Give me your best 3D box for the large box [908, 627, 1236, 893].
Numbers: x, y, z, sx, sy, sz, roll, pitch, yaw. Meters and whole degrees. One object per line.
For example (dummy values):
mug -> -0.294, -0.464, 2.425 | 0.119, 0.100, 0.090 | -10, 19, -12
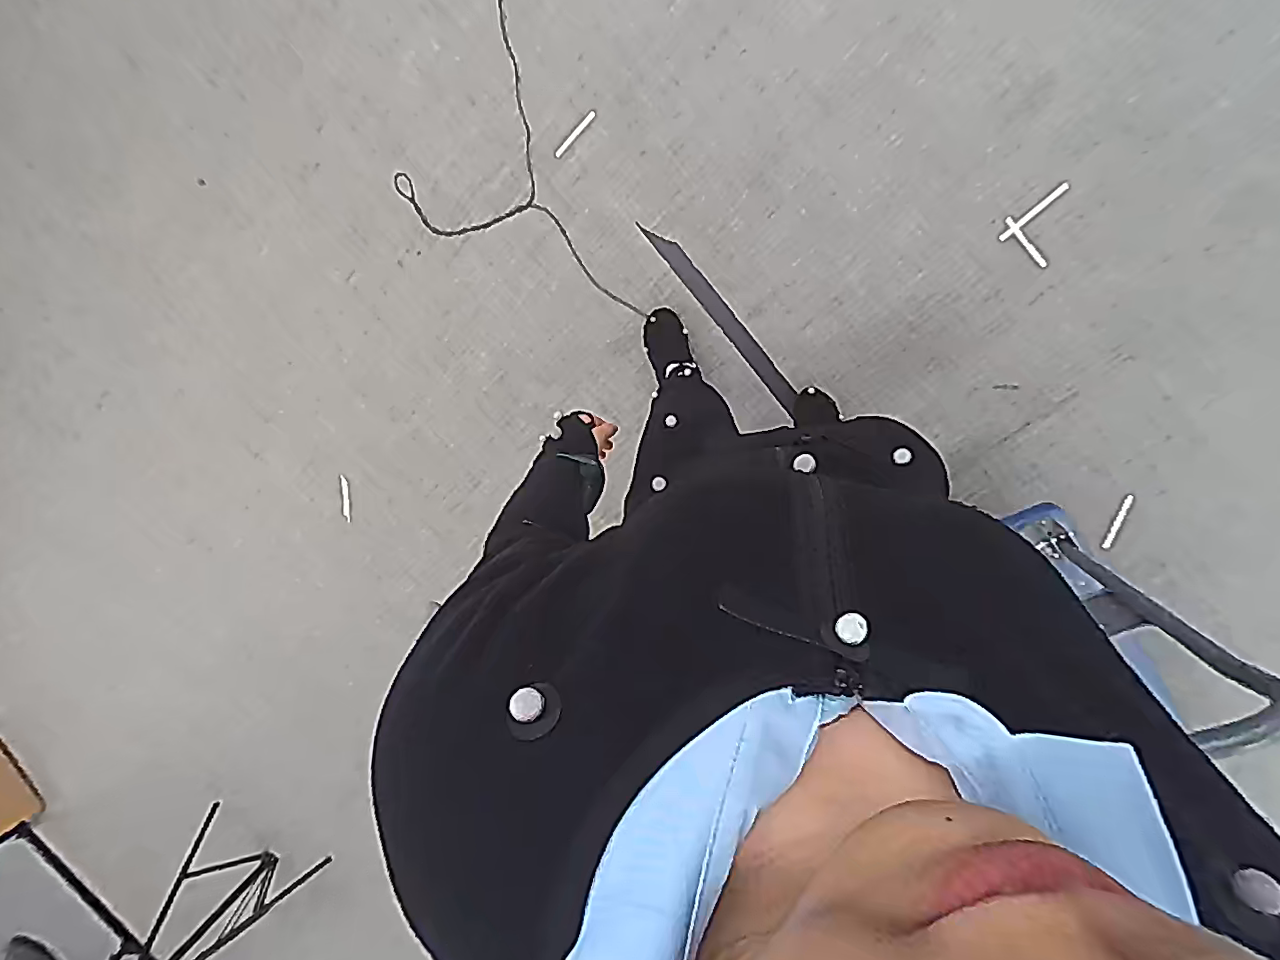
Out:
large box -> 0.876, 0.588, 1.171 | 0.408, 0.320, 0.320 | -30, 96, 18
